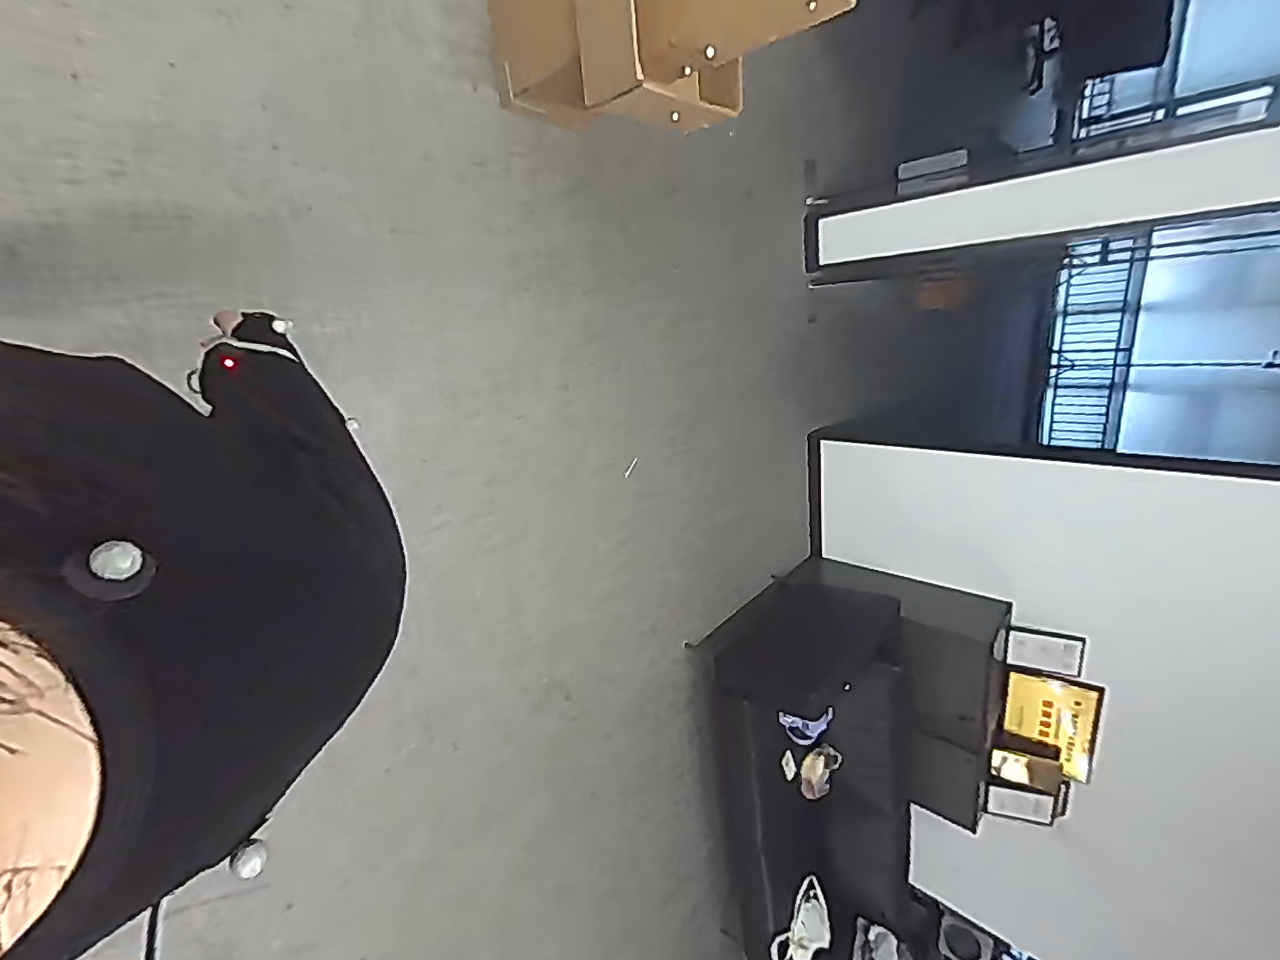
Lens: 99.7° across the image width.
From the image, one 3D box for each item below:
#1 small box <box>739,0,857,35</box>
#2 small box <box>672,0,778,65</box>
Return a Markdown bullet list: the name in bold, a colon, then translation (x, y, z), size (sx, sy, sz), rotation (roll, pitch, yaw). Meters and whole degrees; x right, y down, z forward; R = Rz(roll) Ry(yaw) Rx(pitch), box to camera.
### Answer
- **small box**: translation (0.302, -1.002, 1.038), size (0.179, 0.176, 0.168), rotation (-21, 113, -42)
- **small box**: translation (0.180, -1.030, 1.145), size (0.168, 0.176, 0.179), rotation (-18, 112, -43)
